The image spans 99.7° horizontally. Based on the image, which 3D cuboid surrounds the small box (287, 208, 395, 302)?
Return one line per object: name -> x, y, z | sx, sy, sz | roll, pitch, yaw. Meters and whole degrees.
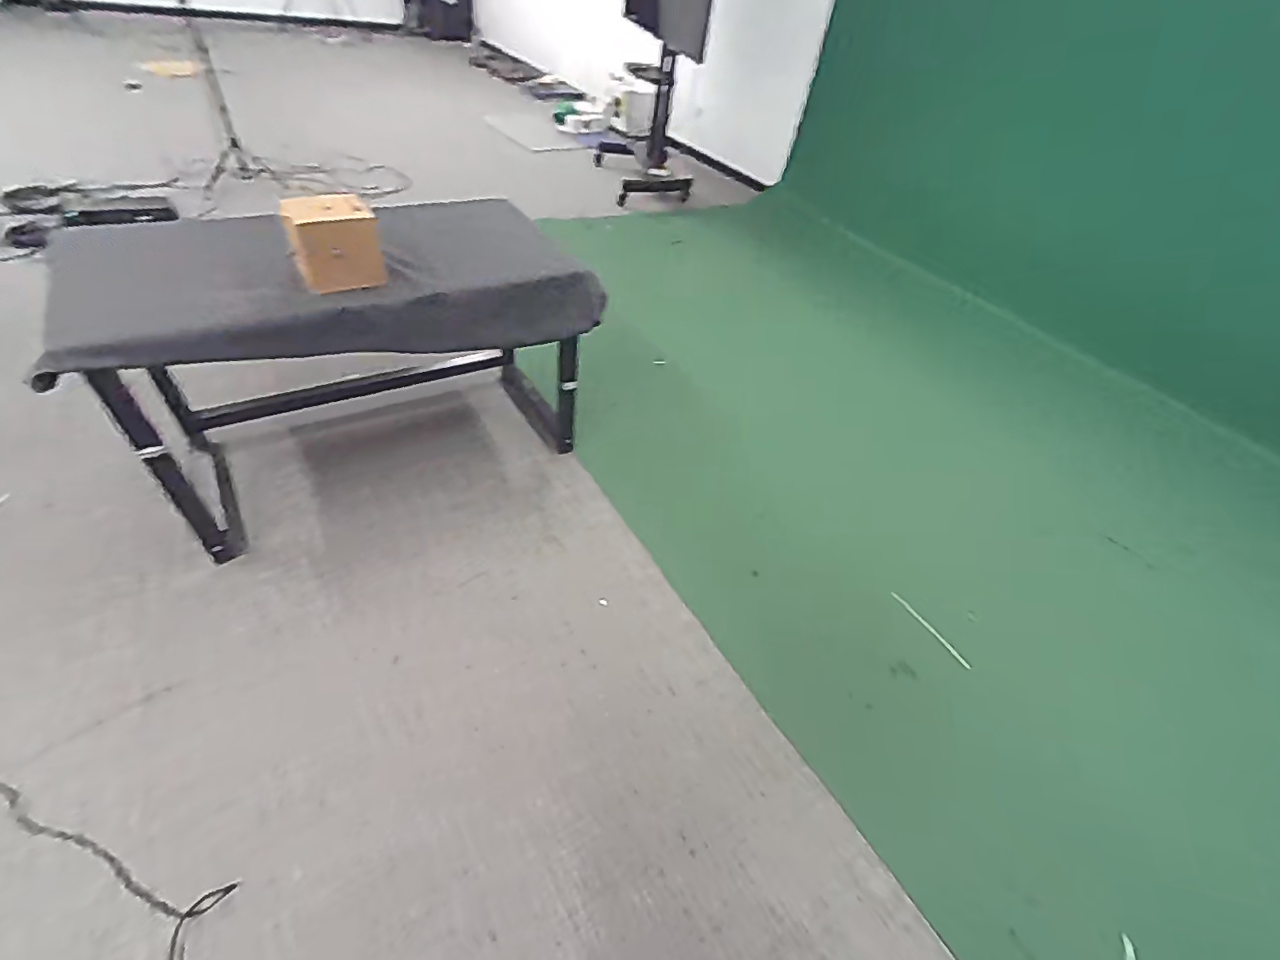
small box -> -0.748, -0.566, 1.362 | 0.179, 0.176, 0.168 | -25, 52, -32
